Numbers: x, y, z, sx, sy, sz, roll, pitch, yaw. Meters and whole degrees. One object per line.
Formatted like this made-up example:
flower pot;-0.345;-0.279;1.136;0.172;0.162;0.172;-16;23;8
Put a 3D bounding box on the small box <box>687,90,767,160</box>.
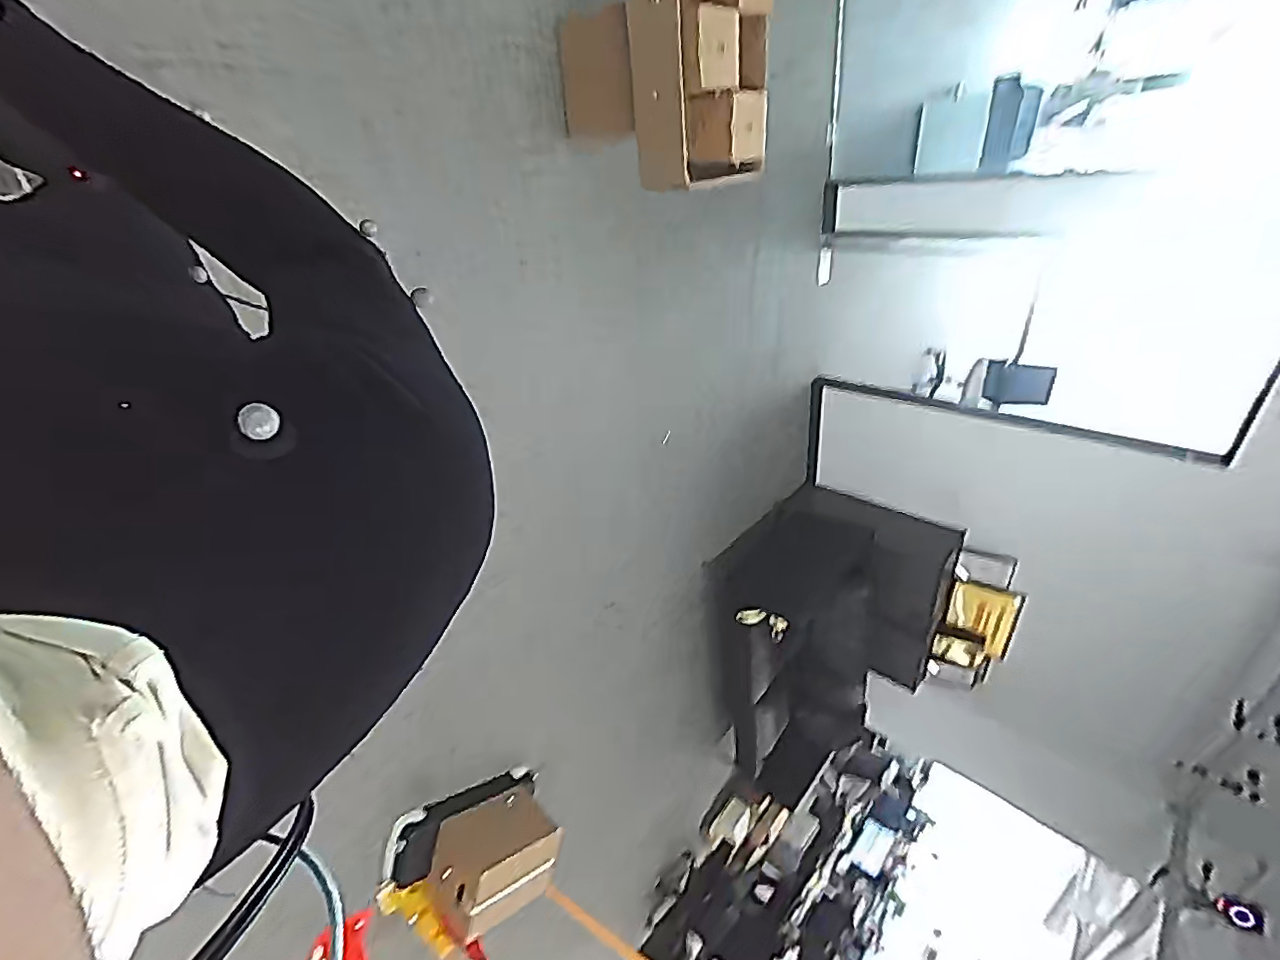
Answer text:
small box;0.261;-1.068;1.629;0.179;0.176;0.168;-31;130;-36
